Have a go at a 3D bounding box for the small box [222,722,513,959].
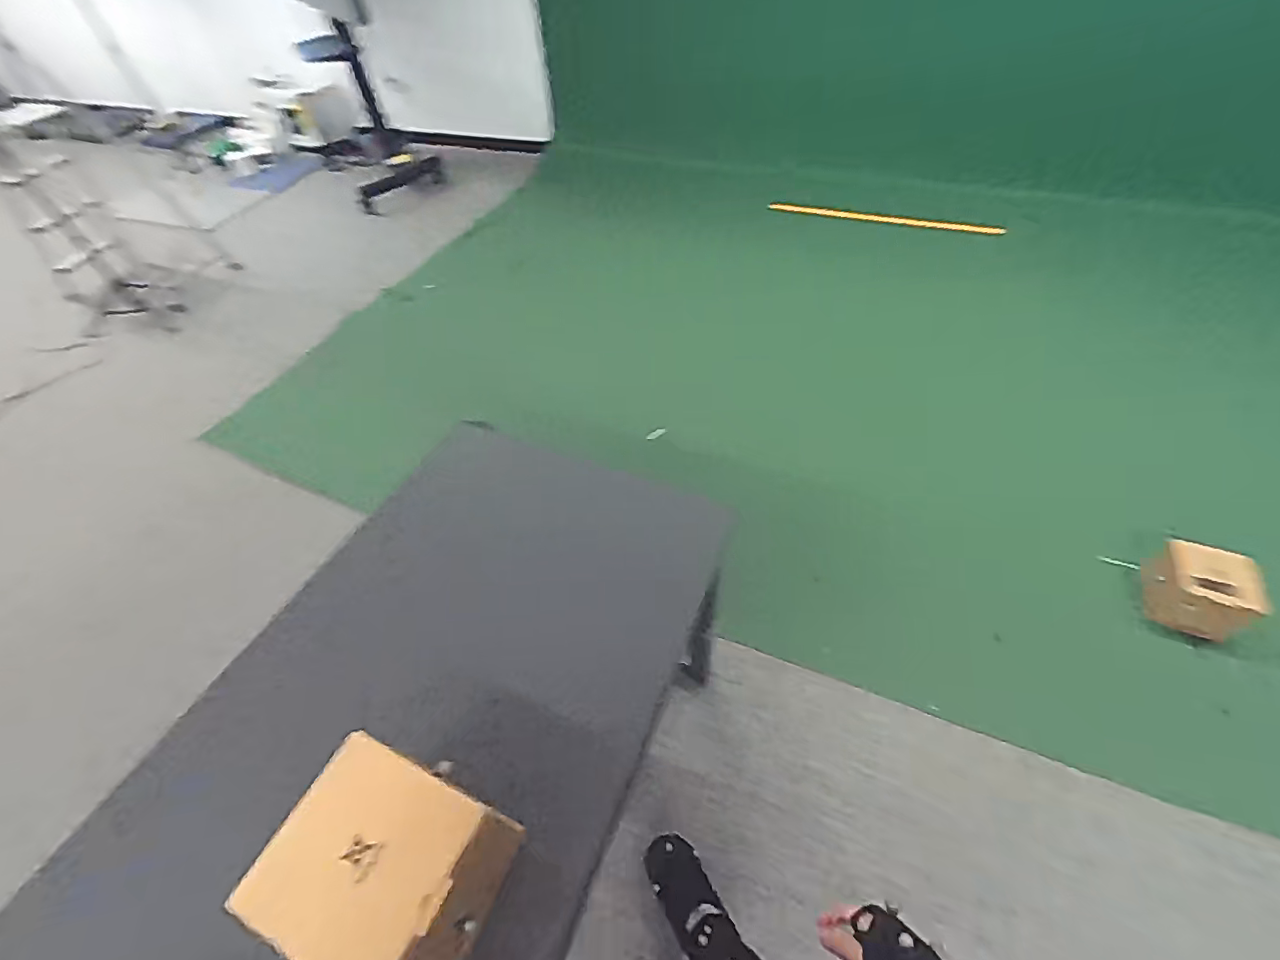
[{"bbox_3d":[-0.259,0.388,0.559,0.179,0.176,0.168,19,54,17],"label":"small box"}]
